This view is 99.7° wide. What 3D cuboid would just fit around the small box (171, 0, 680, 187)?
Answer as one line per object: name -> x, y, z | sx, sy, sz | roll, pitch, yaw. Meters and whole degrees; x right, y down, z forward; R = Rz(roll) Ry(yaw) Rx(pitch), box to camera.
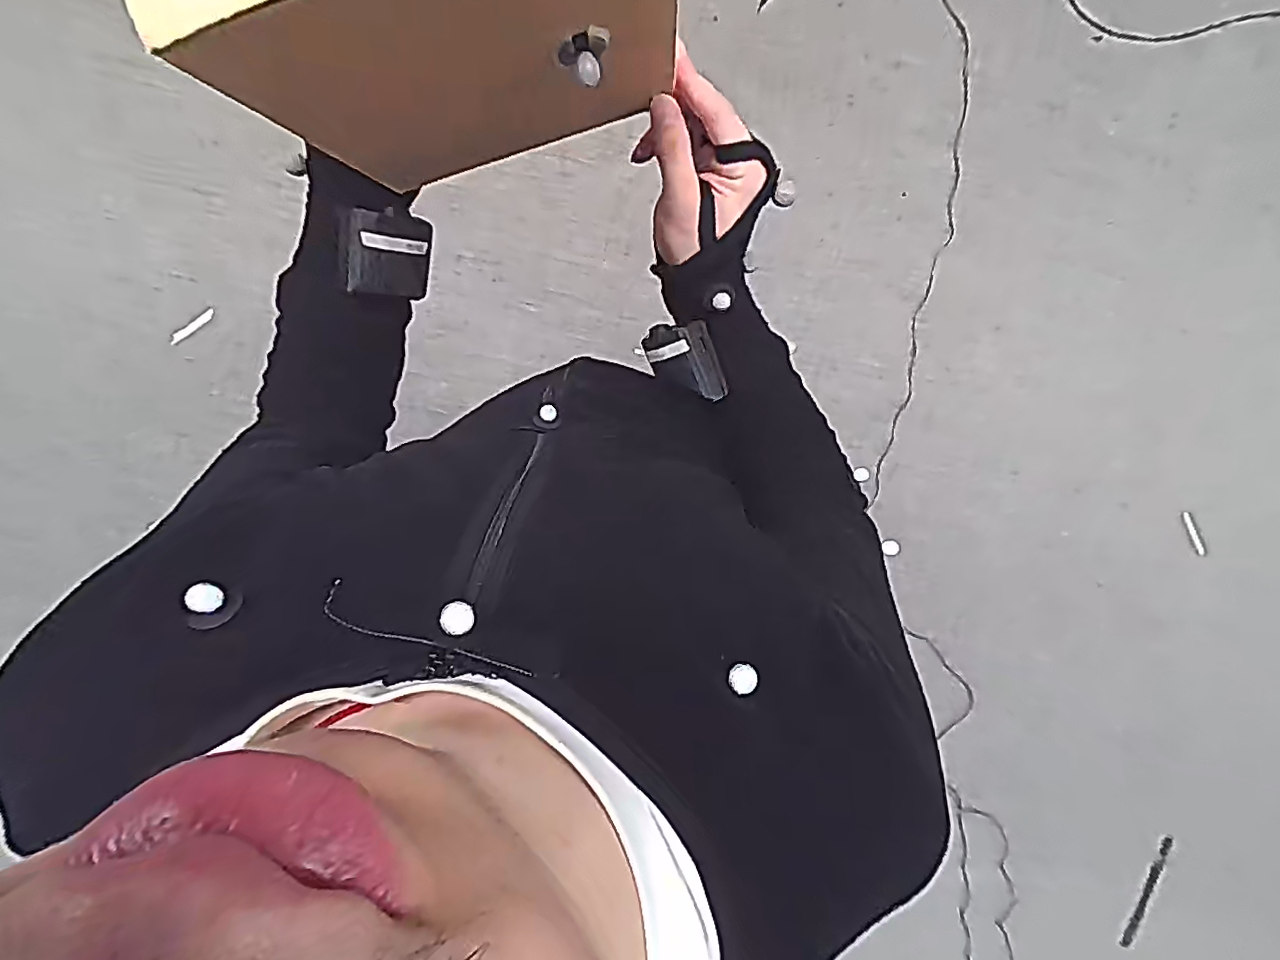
small box -> -0.083, -0.256, 0.231 | 0.179, 0.176, 0.168 | -15, 102, 6
